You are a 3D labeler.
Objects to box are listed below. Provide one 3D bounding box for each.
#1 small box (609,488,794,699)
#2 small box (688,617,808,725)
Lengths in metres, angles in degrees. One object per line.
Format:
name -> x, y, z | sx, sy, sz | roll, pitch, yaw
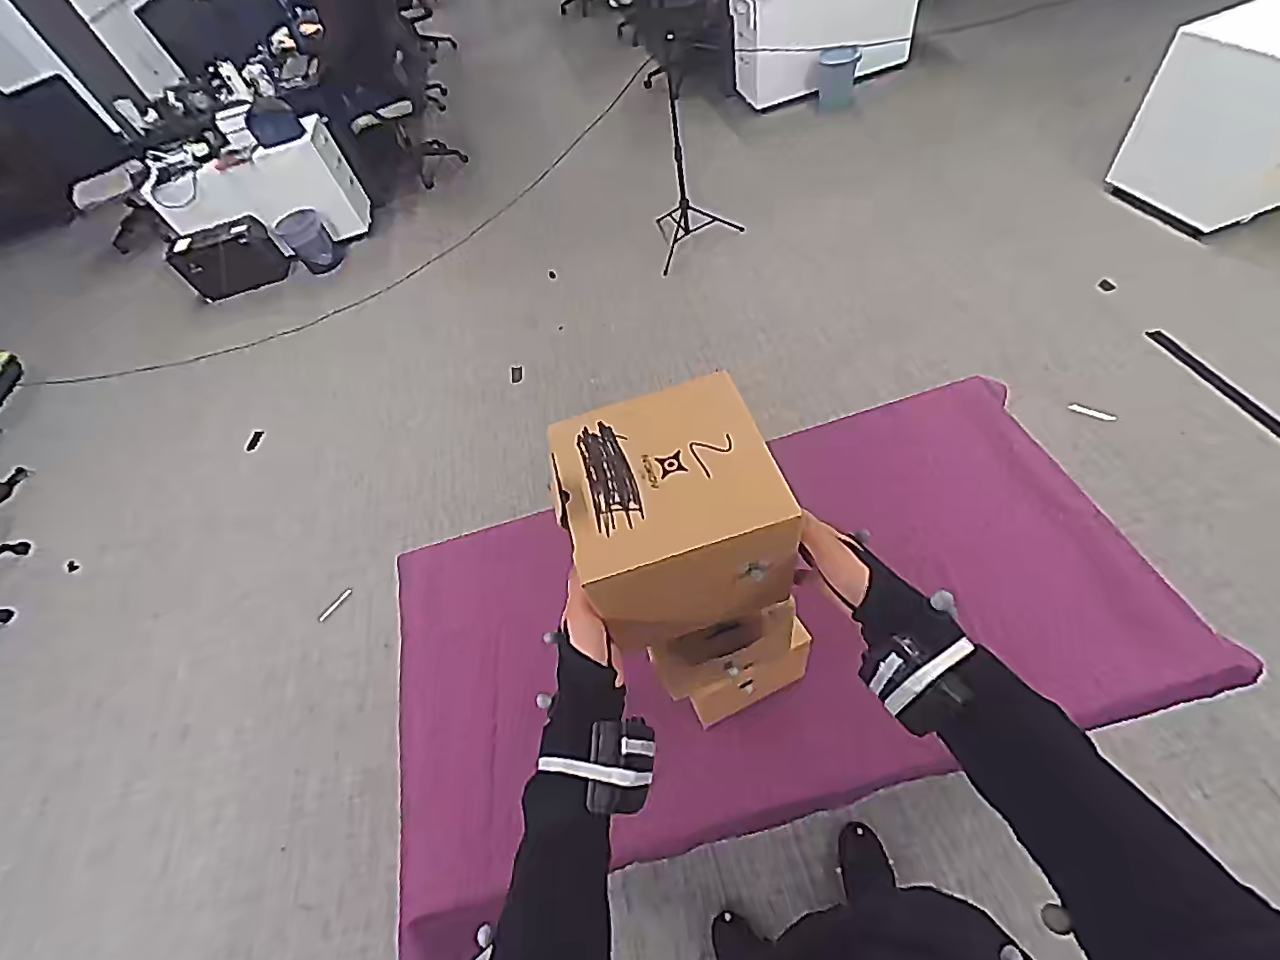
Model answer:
small box -> 0.076, 0.146, 0.680 | 0.168, 0.176, 0.179 | -22, 53, -2
small box -> 0.128, 0.239, 0.807 | 0.179, 0.176, 0.168 | -25, 53, -6
